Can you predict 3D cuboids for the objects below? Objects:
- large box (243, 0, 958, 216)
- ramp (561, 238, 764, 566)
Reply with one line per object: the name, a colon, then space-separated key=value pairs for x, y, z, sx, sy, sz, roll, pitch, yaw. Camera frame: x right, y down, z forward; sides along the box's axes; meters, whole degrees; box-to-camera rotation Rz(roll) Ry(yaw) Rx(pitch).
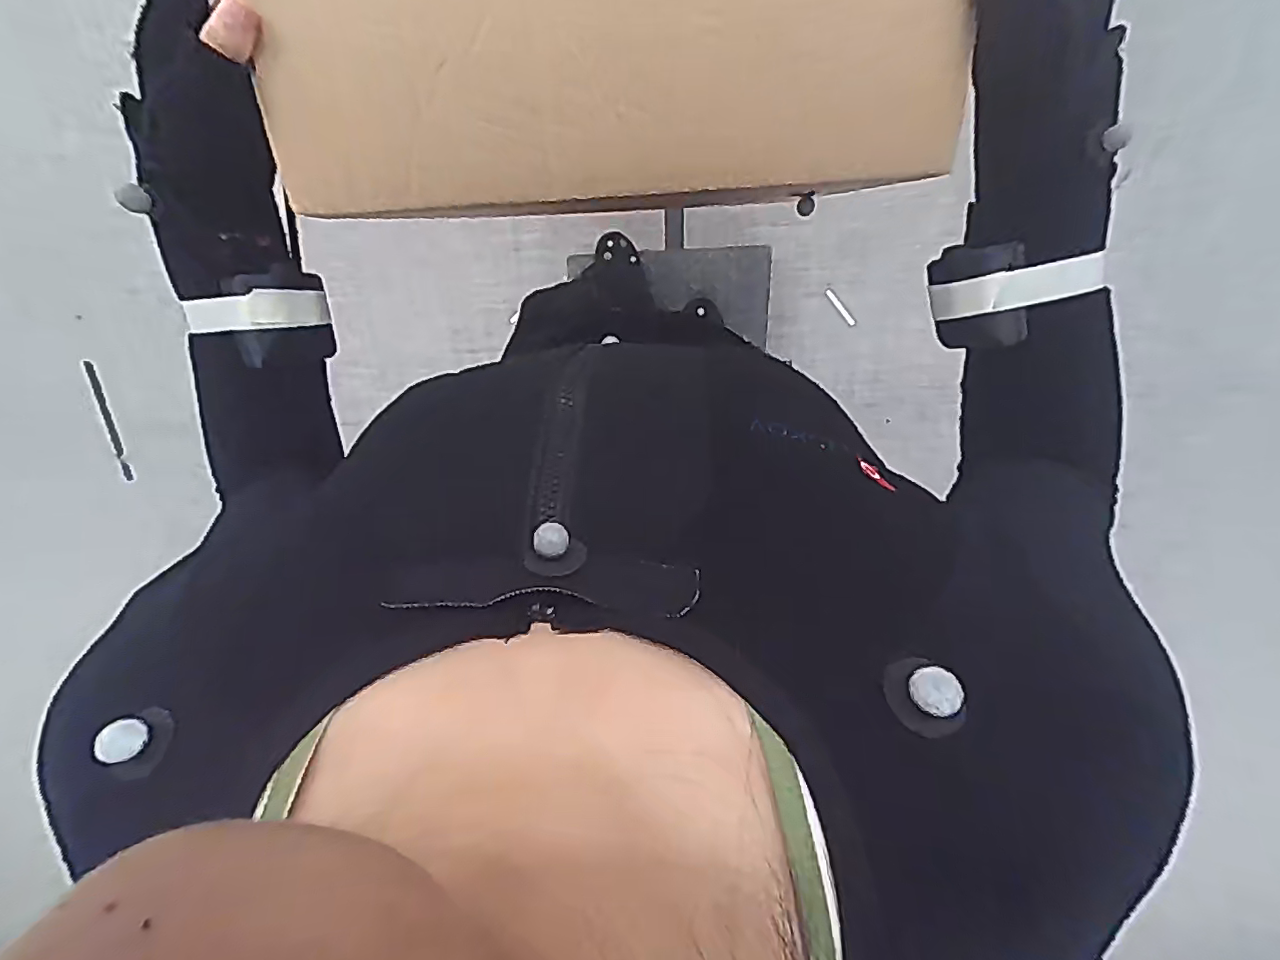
large box: x=-0.022 y=-0.385 z=0.409 sx=0.408 sy=0.320 sz=0.320 roll=-2 pitch=115 yaw=2
ramp: x=0.079 y=-0.141 z=1.542 sx=0.509 sy=0.206 sz=0.991 roll=-3 pitch=112 yaw=4
